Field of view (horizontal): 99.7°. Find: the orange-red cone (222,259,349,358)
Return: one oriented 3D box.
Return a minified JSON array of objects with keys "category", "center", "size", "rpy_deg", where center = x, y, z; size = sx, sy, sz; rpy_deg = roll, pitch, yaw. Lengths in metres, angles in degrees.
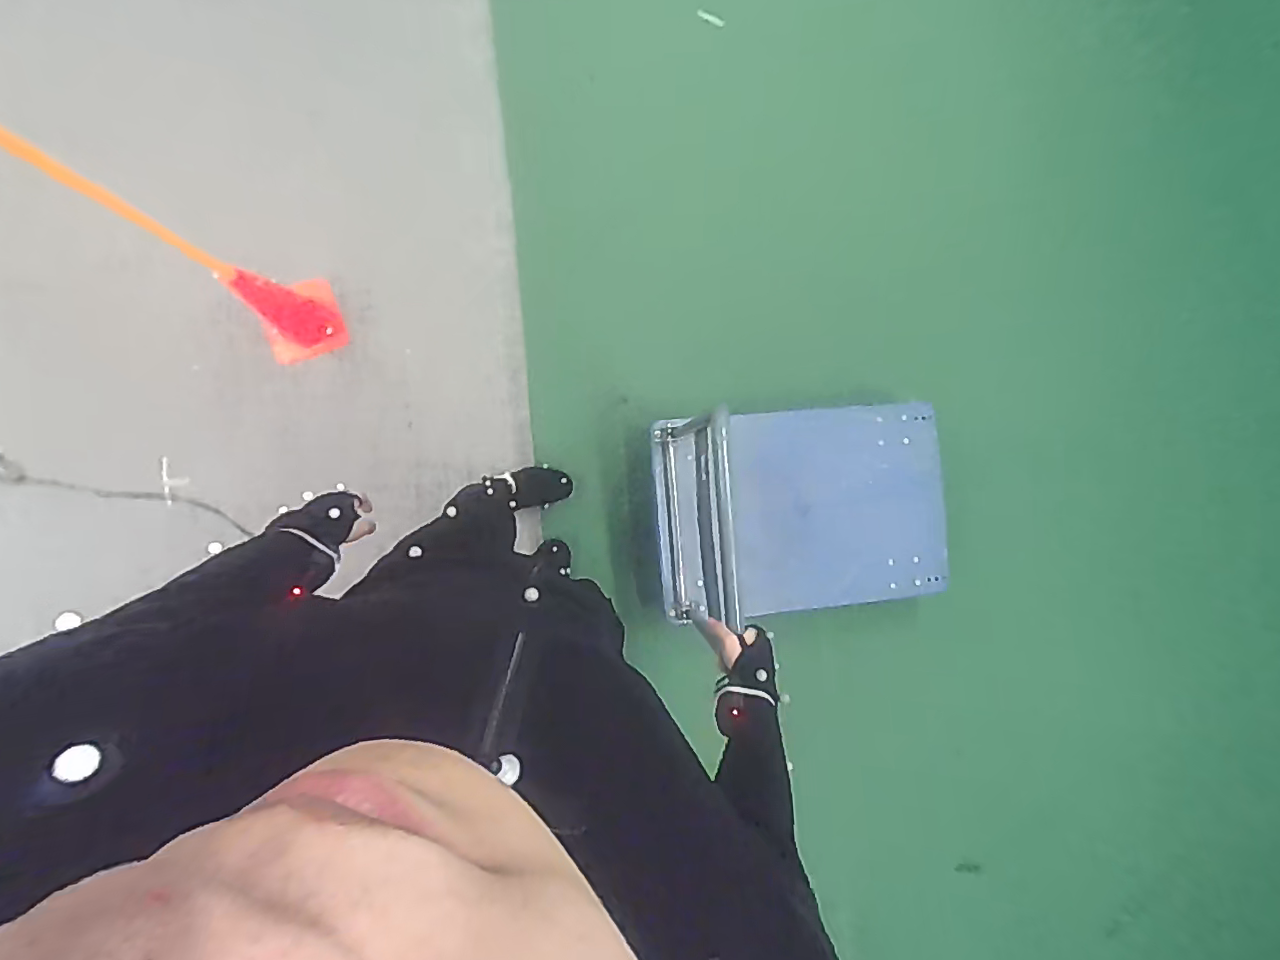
[{"category":"orange-red cone","center":[-0.917,-0.462,1.350],"size":[0.198,0.360,0.199],"rpy_deg":[-20,91,-8]}]
